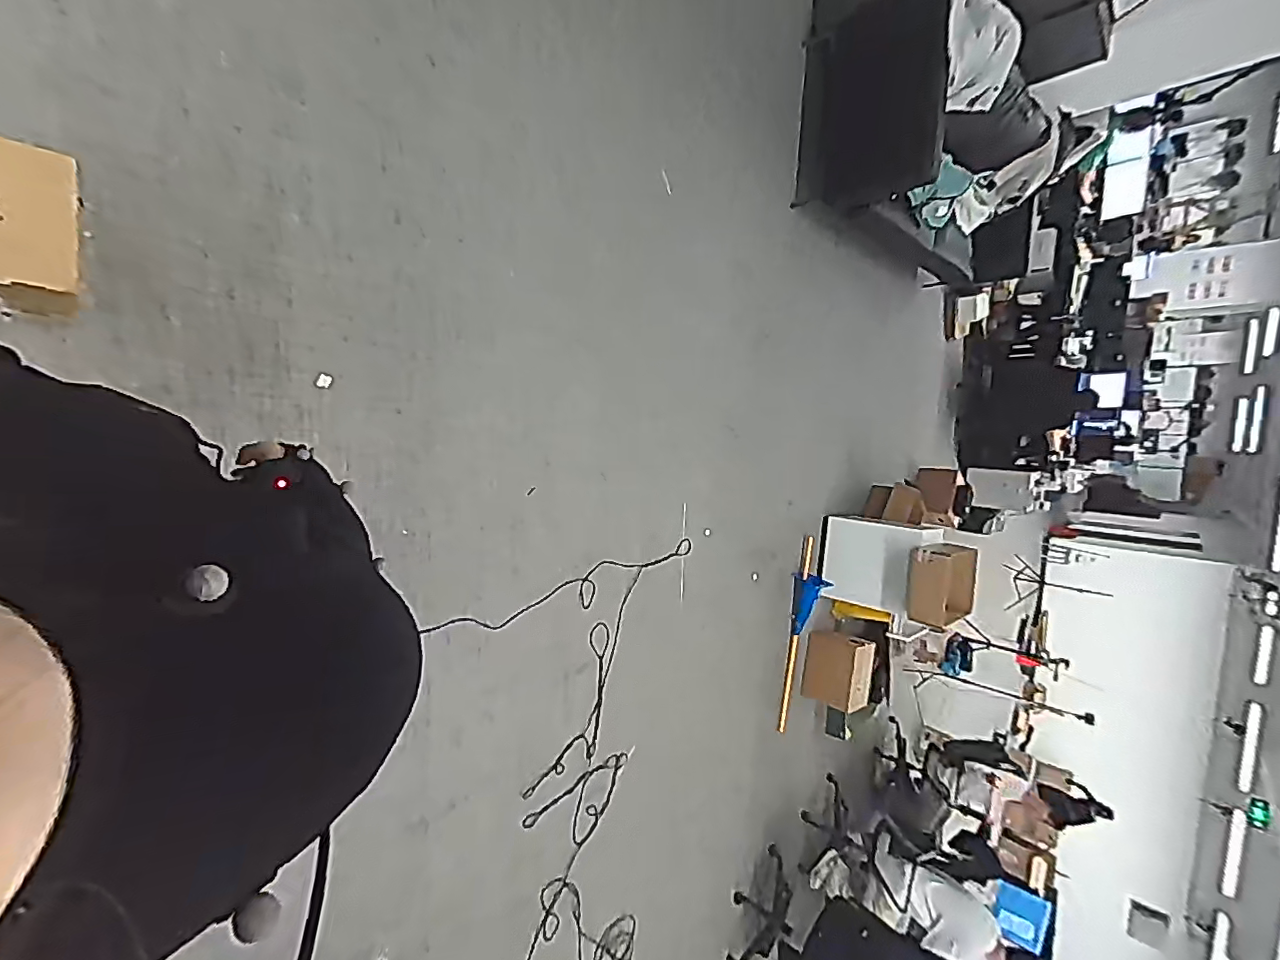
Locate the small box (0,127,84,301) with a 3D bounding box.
[{"bbox_3d":[-0.843,-0.346,0.699,0.168,0.176,0.179,-1,96,-44],"label":"small box"}]

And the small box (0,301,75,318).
[{"bbox_3d":[-1.080,-0.385,0.922,0.168,0.176,0.179,4,94,-46],"label":"small box"}]

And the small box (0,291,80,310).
[{"bbox_3d":[-0.962,-0.366,0.812,0.168,0.176,0.179,-1,98,-45],"label":"small box"}]
